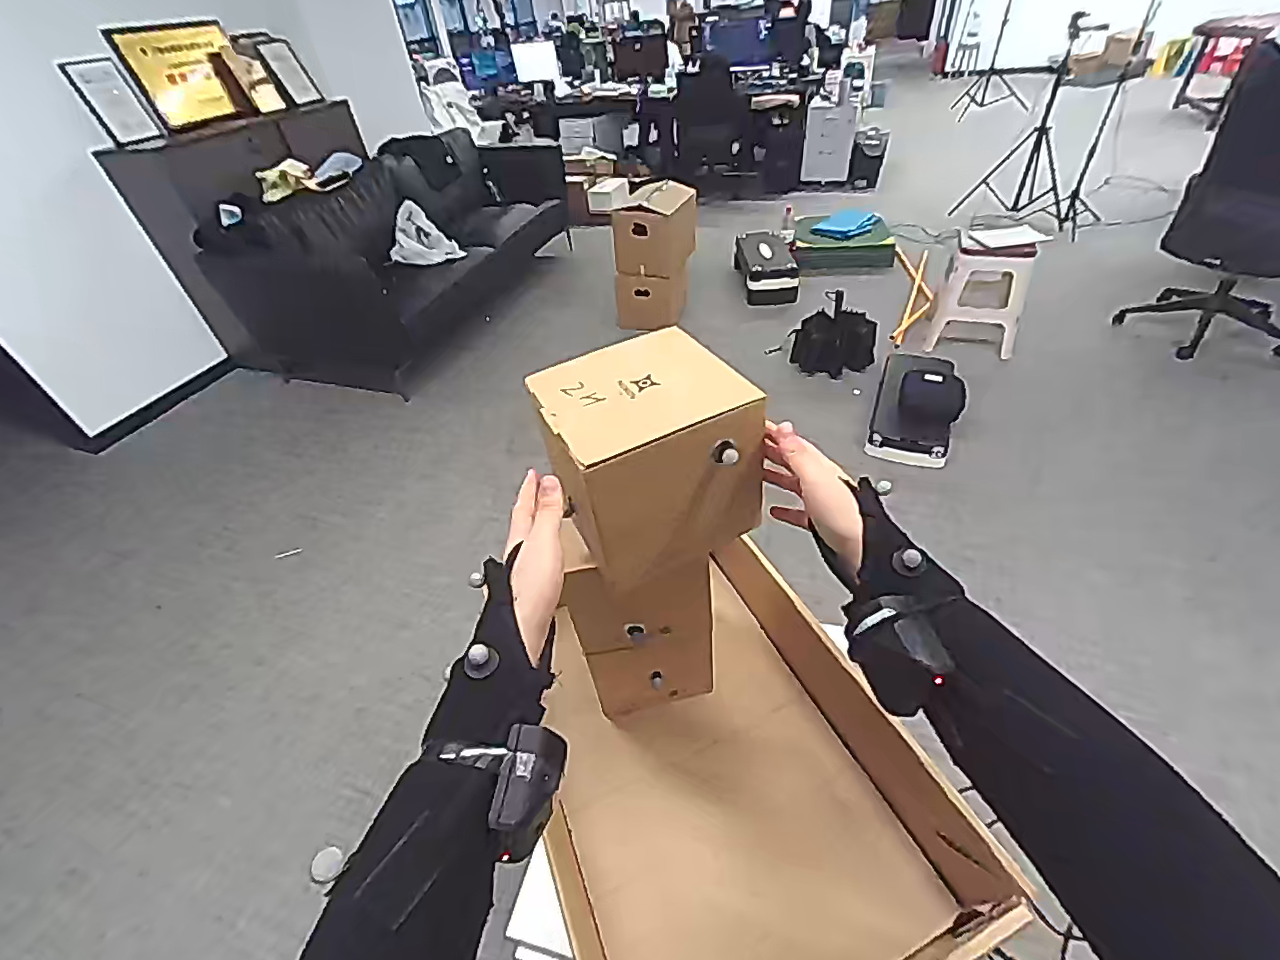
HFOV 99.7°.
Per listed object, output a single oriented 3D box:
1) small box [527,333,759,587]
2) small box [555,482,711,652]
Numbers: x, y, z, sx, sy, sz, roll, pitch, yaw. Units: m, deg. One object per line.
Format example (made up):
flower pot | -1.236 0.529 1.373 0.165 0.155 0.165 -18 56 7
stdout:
small box | 0.004 -0.023 0.564 0.179 0.176 0.168 -23 43 -14
small box | -0.009 0.090 0.690 0.168 0.176 0.179 -11 42 0
